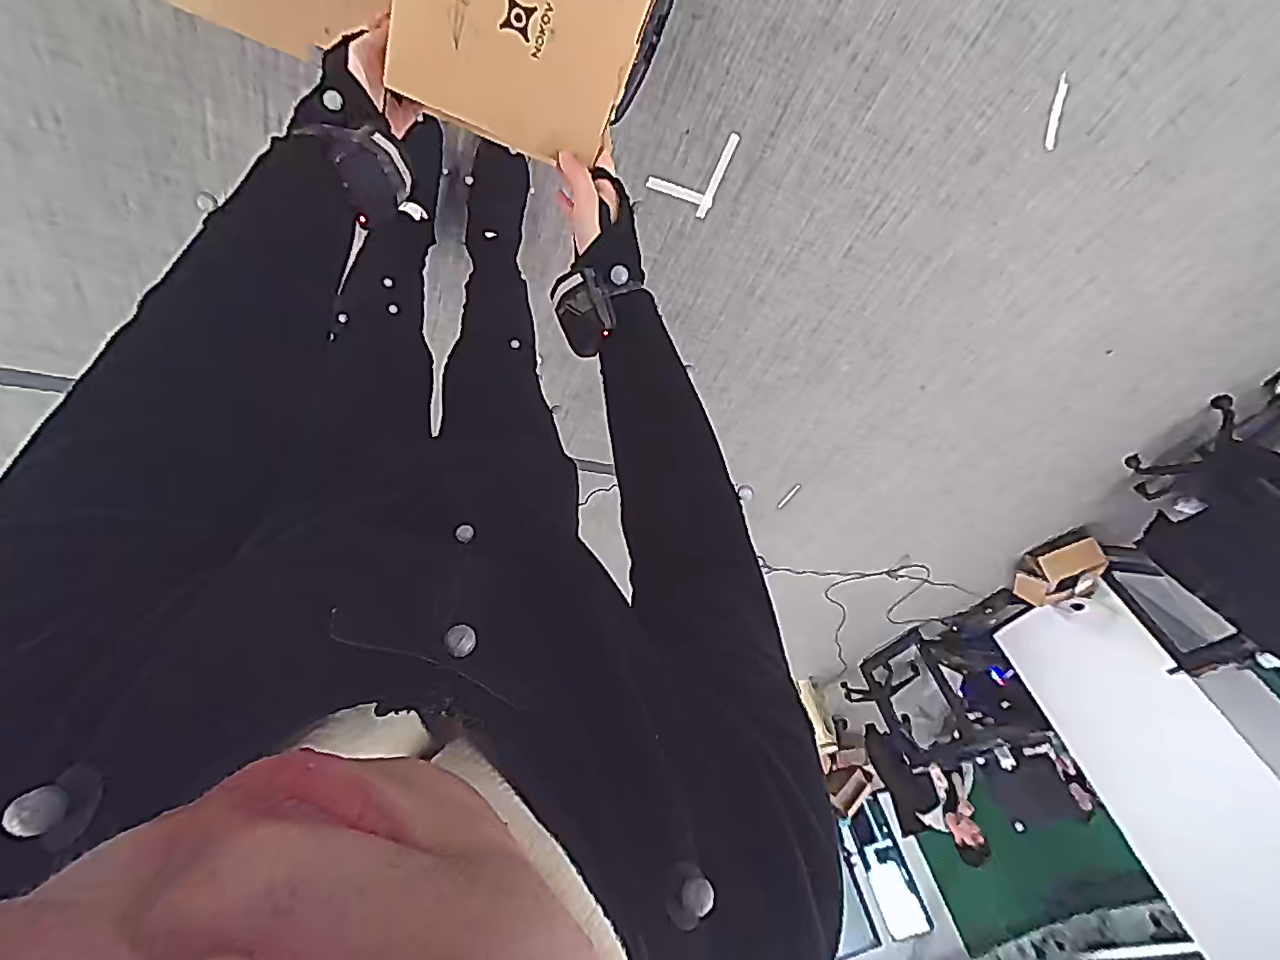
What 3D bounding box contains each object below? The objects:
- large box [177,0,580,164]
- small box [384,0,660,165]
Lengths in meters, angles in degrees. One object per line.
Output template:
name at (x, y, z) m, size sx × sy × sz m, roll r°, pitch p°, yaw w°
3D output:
large box at (-0.208, -0.608, 0.554) m, size 0.408 × 0.320 × 0.320 m, roll 10°, pitch 134°, yaw -26°
small box at (-0.095, -0.405, 0.442) m, size 0.179 × 0.176 × 0.168 m, roll 10°, pitch 135°, yaw -27°
